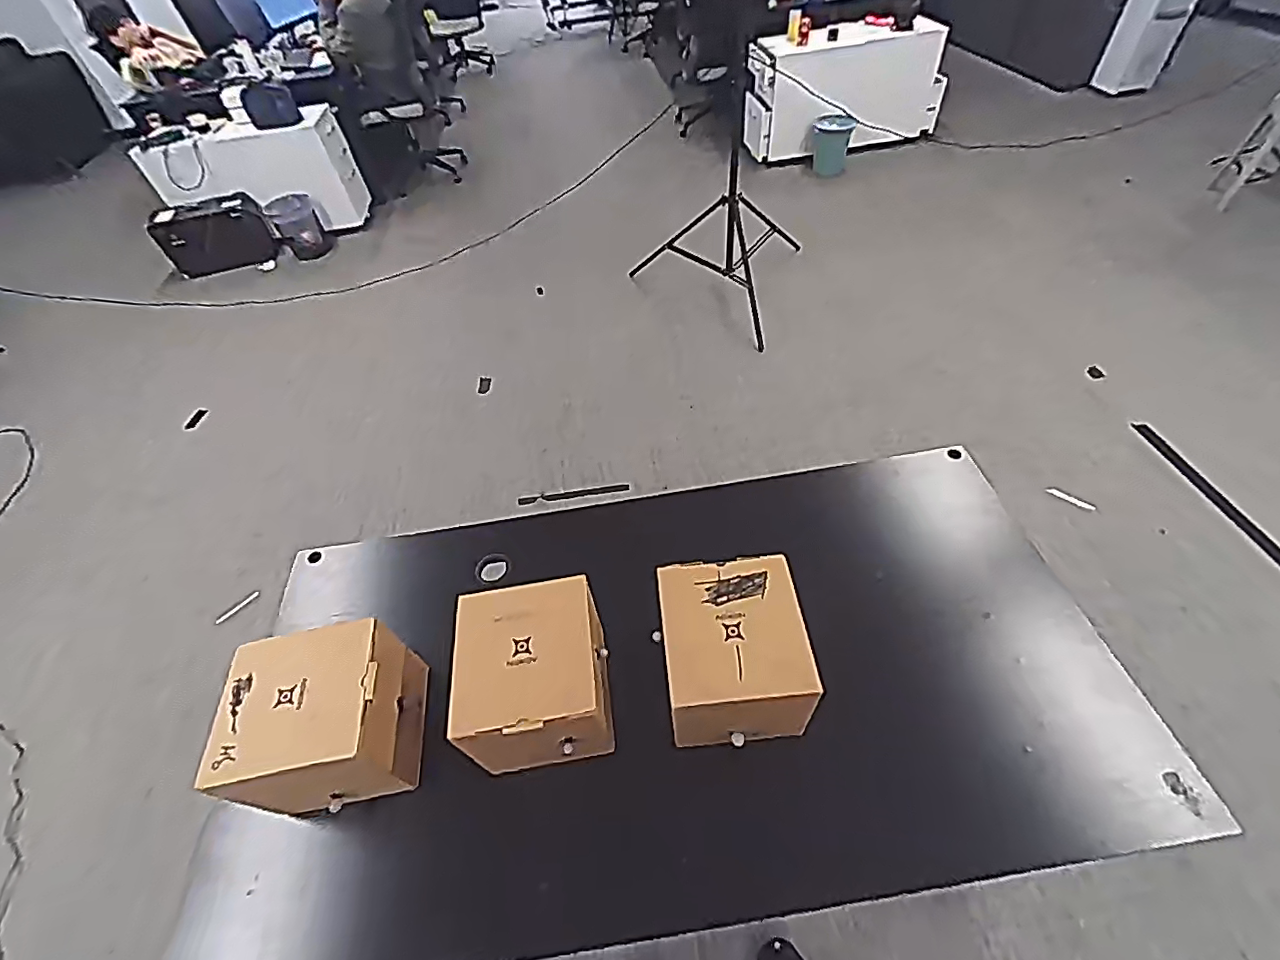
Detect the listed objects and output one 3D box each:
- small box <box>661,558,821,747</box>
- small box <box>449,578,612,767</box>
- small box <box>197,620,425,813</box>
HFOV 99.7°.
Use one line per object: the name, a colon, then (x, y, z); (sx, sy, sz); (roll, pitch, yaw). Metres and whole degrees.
small box: (0.115, 0.224, 0.696); (0.168, 0.176, 0.179); (-6, 50, 1)
small box: (-0.133, 0.254, 0.699); (0.168, 0.176, 0.179); (-9, 49, -3)
small box: (-0.390, 0.302, 0.685); (0.179, 0.176, 0.168); (-10, 49, -4)
